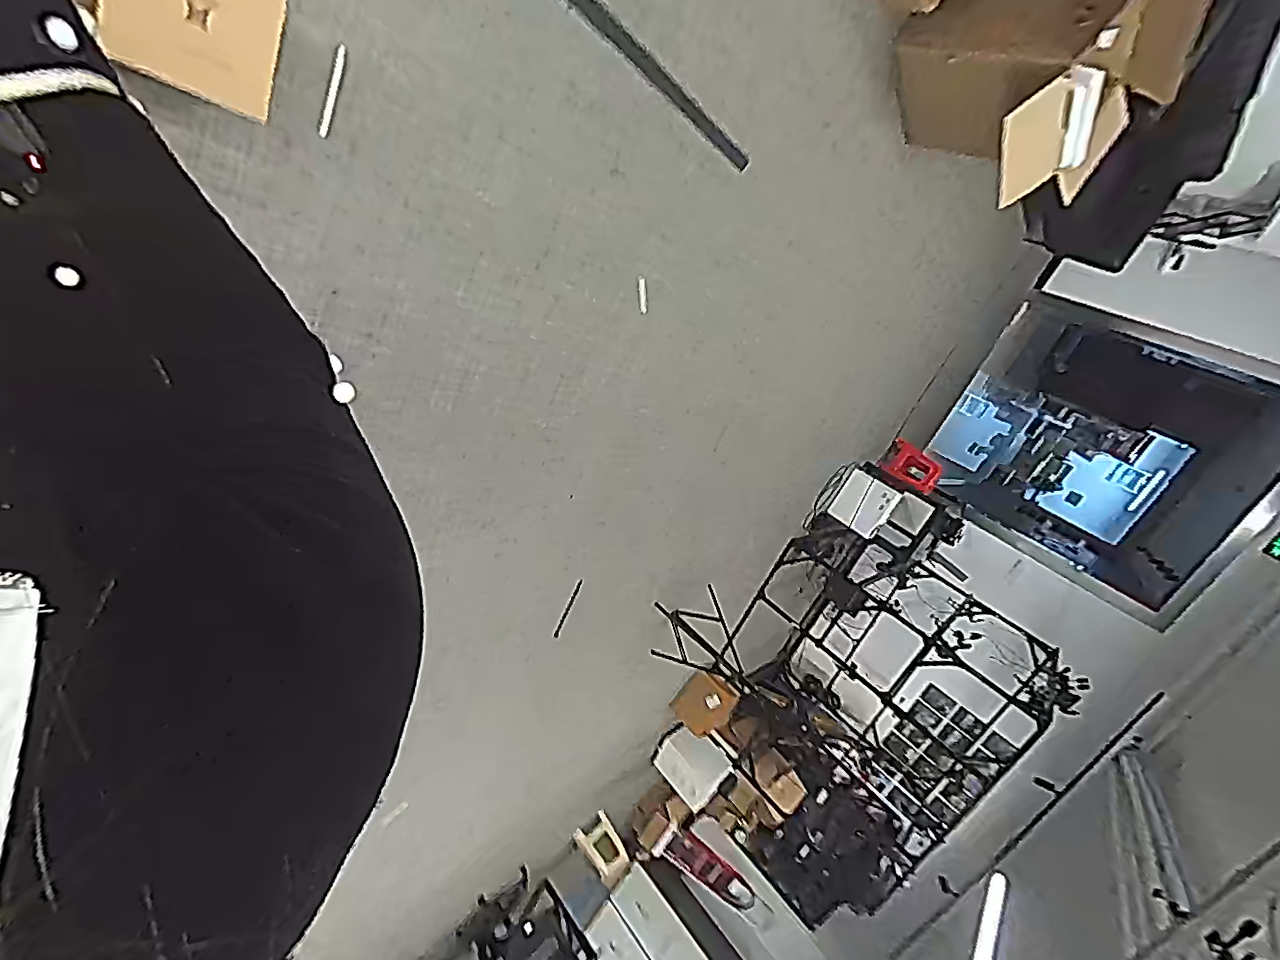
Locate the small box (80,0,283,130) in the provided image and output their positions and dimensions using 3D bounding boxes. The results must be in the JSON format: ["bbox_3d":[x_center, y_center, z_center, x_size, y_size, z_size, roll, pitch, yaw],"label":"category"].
[{"bbox_3d":[-0.583,-0.591,0.685,0.168,0.176,0.179,0,123,-50],"label":"small box"}]
